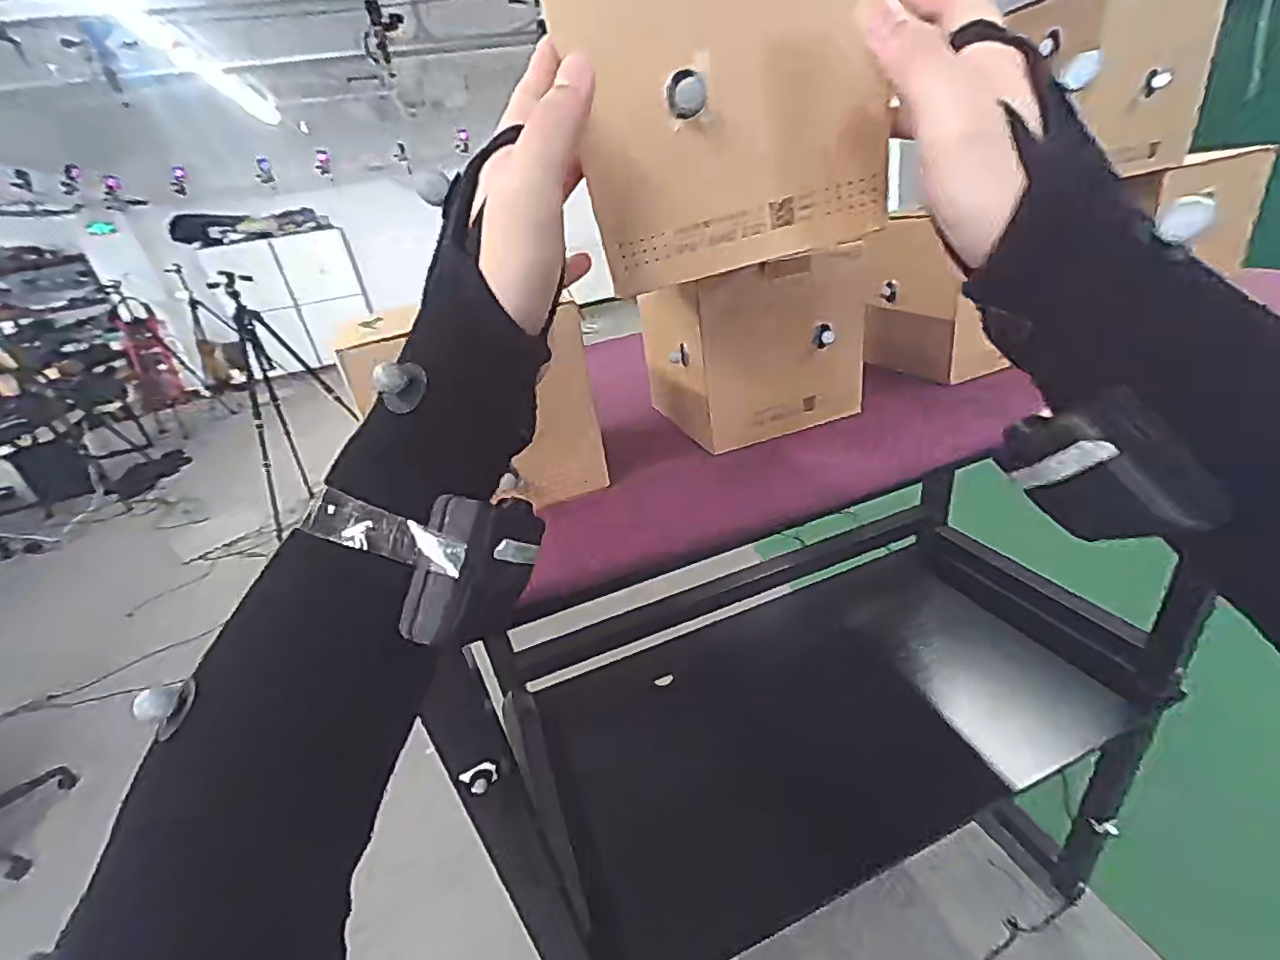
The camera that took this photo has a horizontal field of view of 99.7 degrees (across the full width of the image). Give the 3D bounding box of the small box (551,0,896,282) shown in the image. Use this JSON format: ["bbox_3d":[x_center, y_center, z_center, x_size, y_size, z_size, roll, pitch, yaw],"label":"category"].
[{"bbox_3d":[0.050,-0.240,0.345,0.168,0.176,0.179,-13,32,5],"label":"small box"}]

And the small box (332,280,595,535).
[{"bbox_3d":[-0.147,-0.075,0.489,0.179,0.176,0.168,-17,27,-17],"label":"small box"}]

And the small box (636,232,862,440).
[{"bbox_3d":[0.106,-0.152,0.561,0.168,0.176,0.179,-15,27,-13],"label":"small box"}]

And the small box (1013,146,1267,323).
[{"bbox_3d":[0.619,-0.308,0.695,0.179,0.176,0.168,-17,27,-13],"label":"small box"}]

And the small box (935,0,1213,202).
[{"bbox_3d":[0.458,-0.413,0.590,0.168,0.176,0.179,-17,27,-15],"label":"small box"}]
